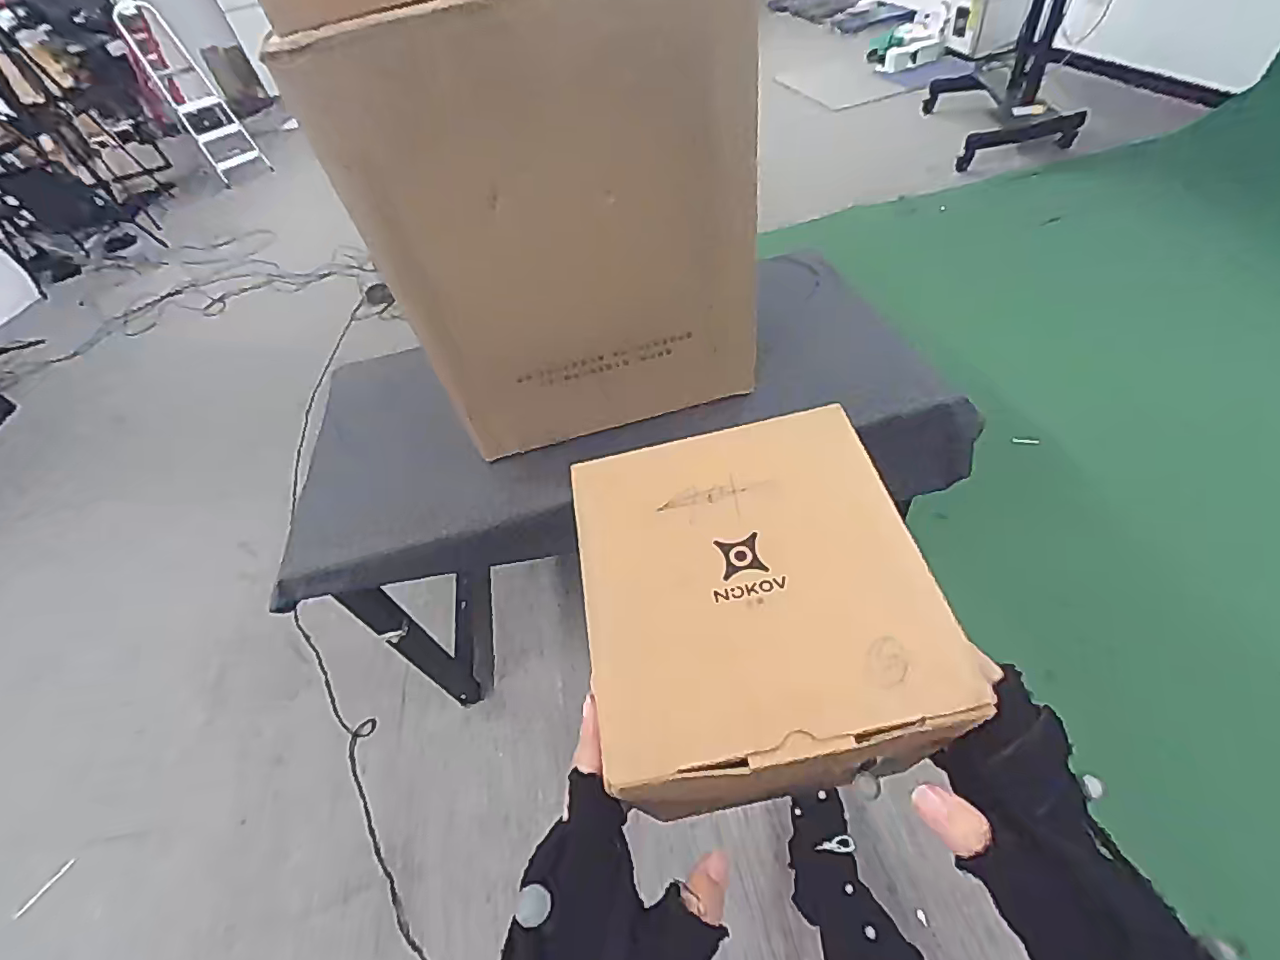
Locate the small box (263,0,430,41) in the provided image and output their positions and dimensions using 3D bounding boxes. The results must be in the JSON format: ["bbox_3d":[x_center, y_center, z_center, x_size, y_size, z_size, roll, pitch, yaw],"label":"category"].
[{"bbox_3d":[-0.313,-0.580,0.545,0.179,0.176,0.168,-17,51,-4],"label":"small box"}]

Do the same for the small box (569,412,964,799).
[{"bbox_3d":[0.061,0.089,0.345,0.168,0.176,0.179,-13,53,1],"label":"small box"}]
